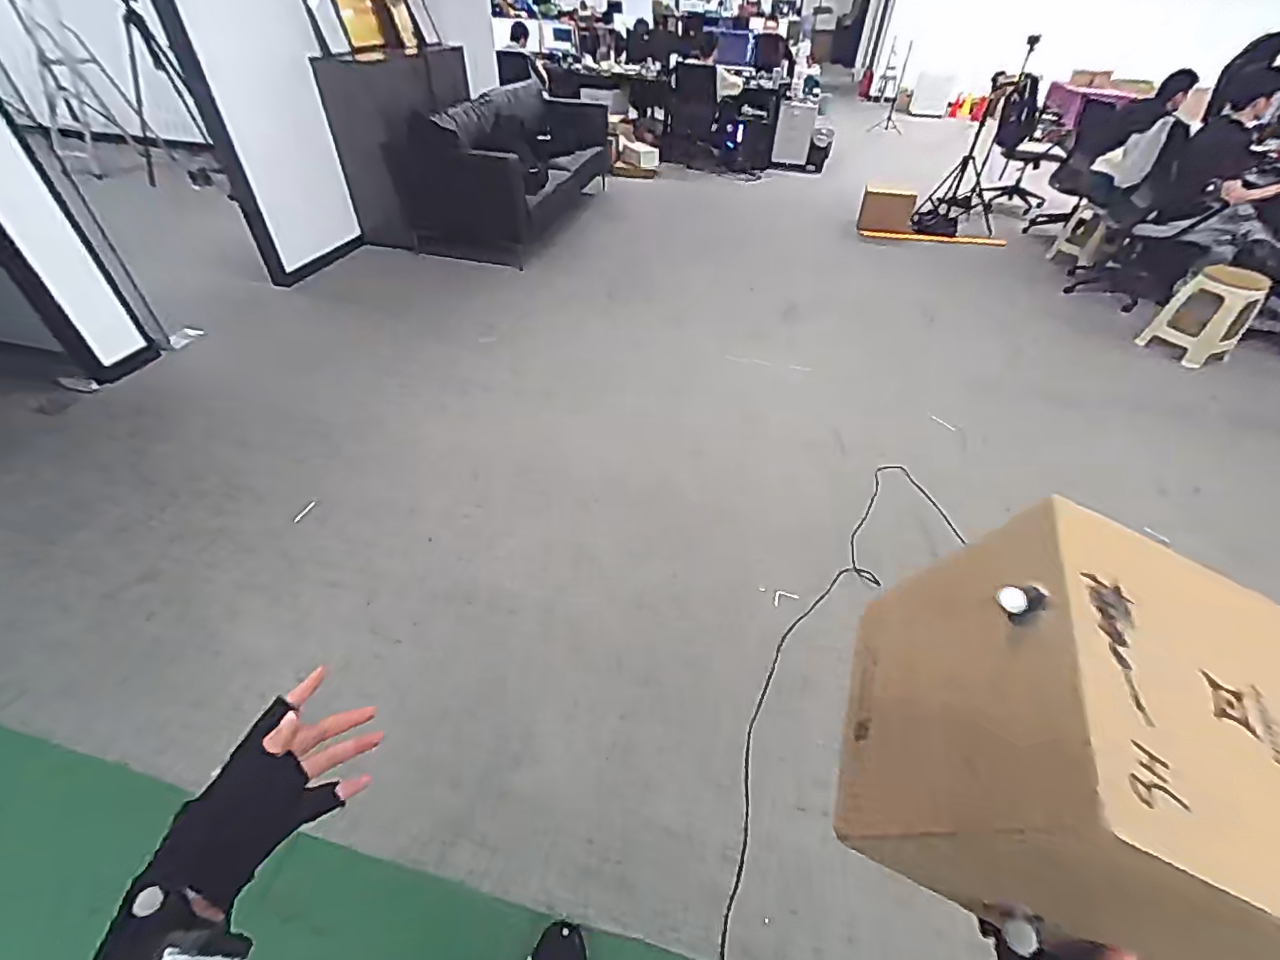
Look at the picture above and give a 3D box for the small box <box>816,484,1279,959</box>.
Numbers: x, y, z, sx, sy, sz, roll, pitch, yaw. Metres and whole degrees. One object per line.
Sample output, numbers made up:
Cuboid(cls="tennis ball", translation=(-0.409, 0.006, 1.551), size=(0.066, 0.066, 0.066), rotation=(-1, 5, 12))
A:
Cuboid(cls="small box", translation=(0.231, 0.139, 0.306), size=(0.179, 0.176, 0.168), rotation=(28, 52, -2))
